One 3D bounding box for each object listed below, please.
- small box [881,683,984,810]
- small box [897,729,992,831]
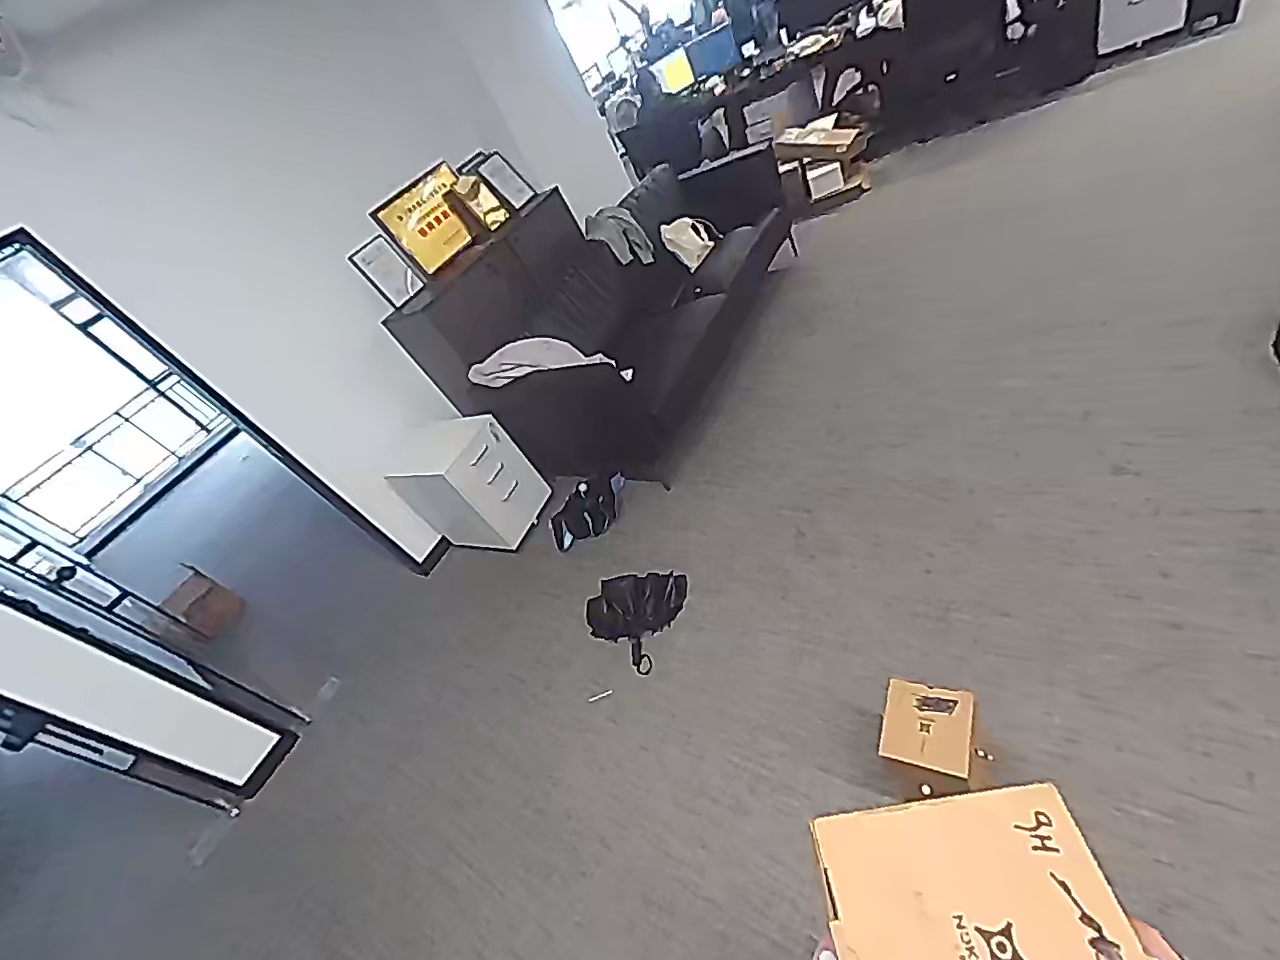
[{"bbox_3d":[0.640,0.576,1.175,0.168,0.176,0.179,-2,46,39],"label":"small box"},{"bbox_3d":[0.720,0.683,1.270,0.168,0.176,0.179,-2,47,39],"label":"small box"}]
